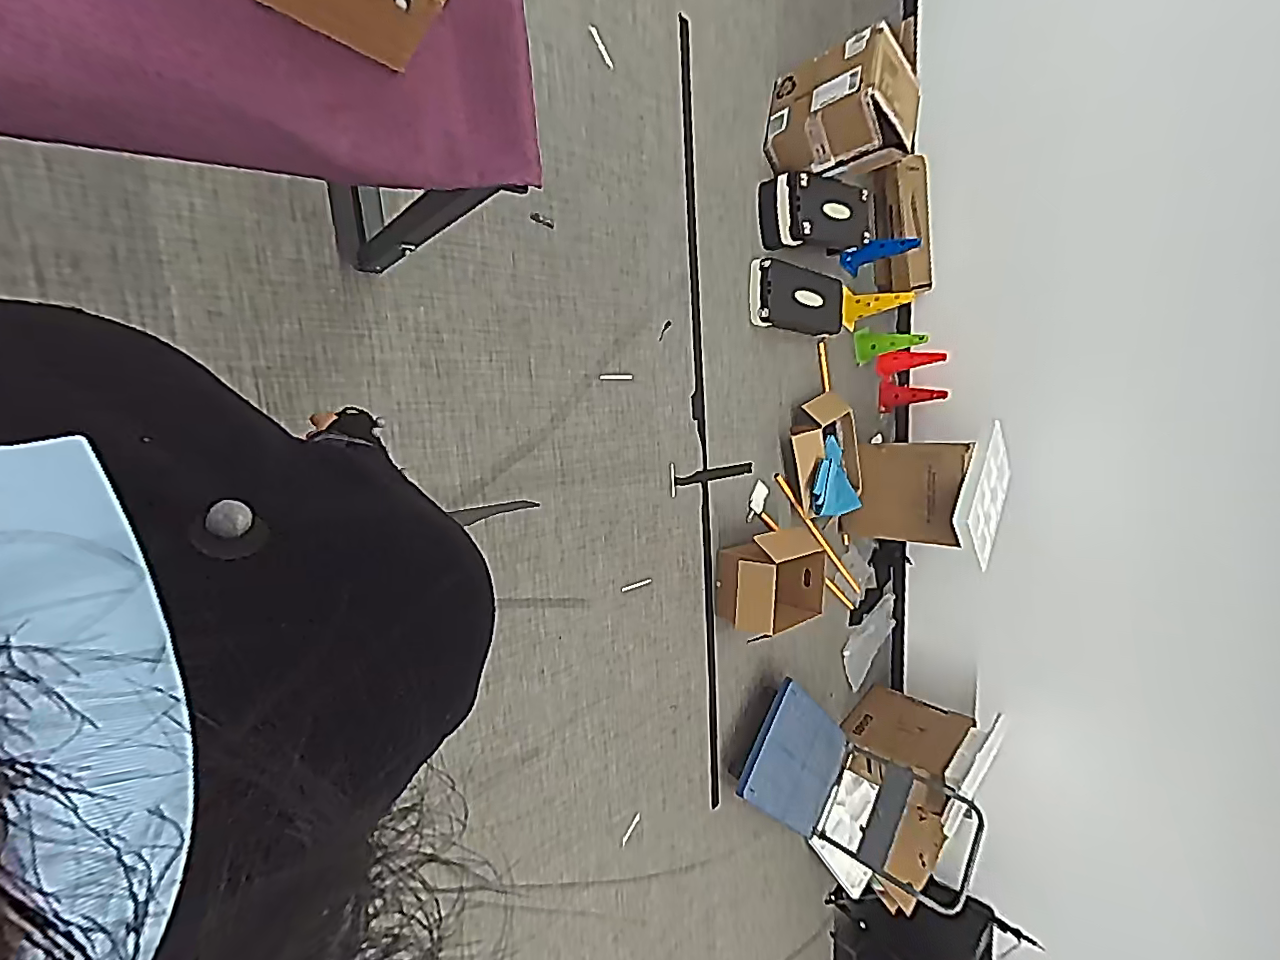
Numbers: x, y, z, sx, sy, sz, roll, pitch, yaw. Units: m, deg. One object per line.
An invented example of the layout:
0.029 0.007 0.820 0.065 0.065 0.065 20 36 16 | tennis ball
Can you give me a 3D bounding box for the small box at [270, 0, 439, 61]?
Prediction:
-0.329 -0.627 0.607 0.179 0.176 0.168 2 93 -42 | small box
